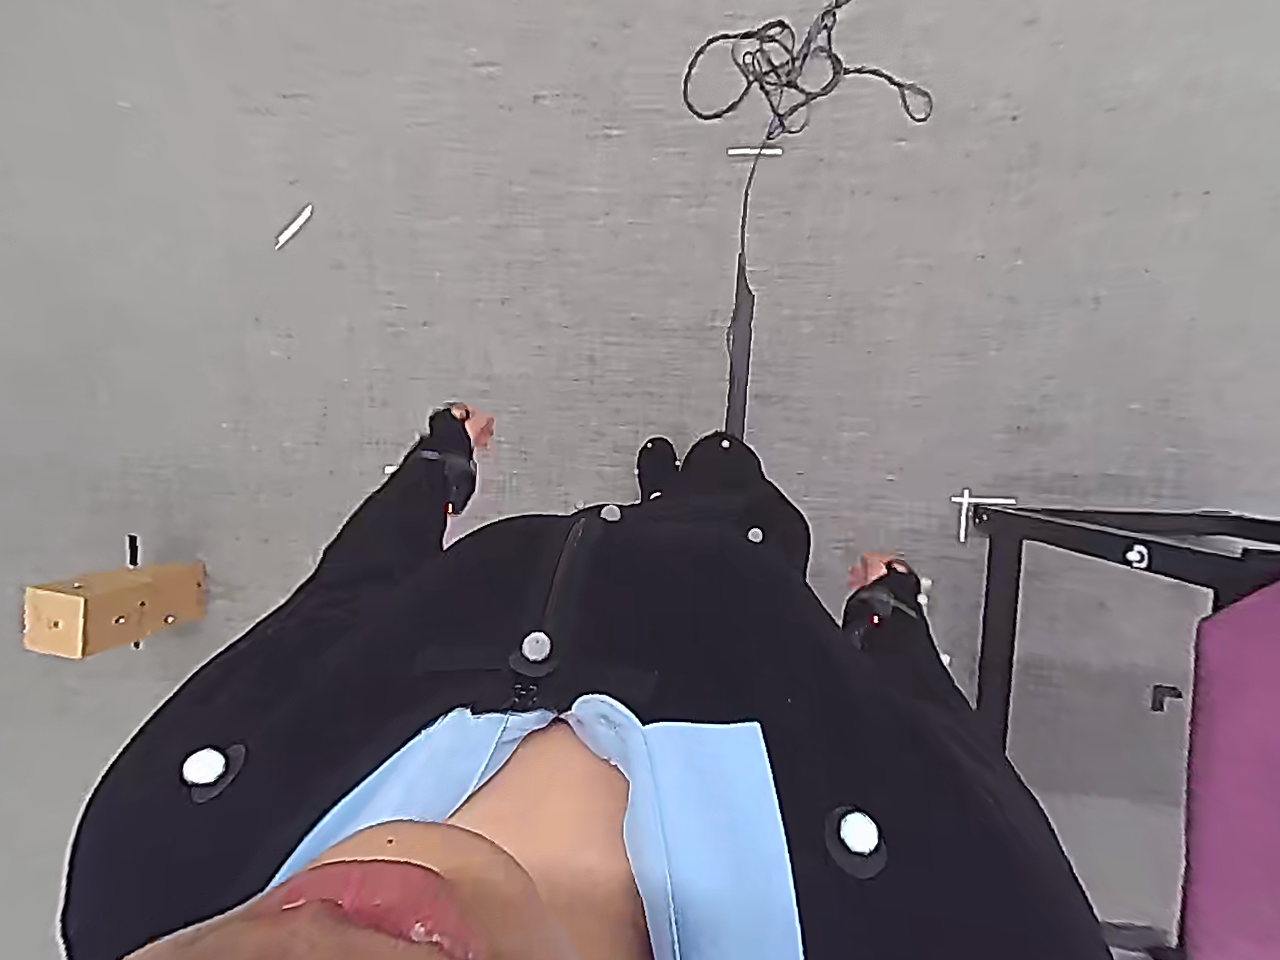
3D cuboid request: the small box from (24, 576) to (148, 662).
[{"bbox_3d":[-1.477,0.365,1.450,0.179,0.176,0.168,8,94,7],"label":"small box"}]
